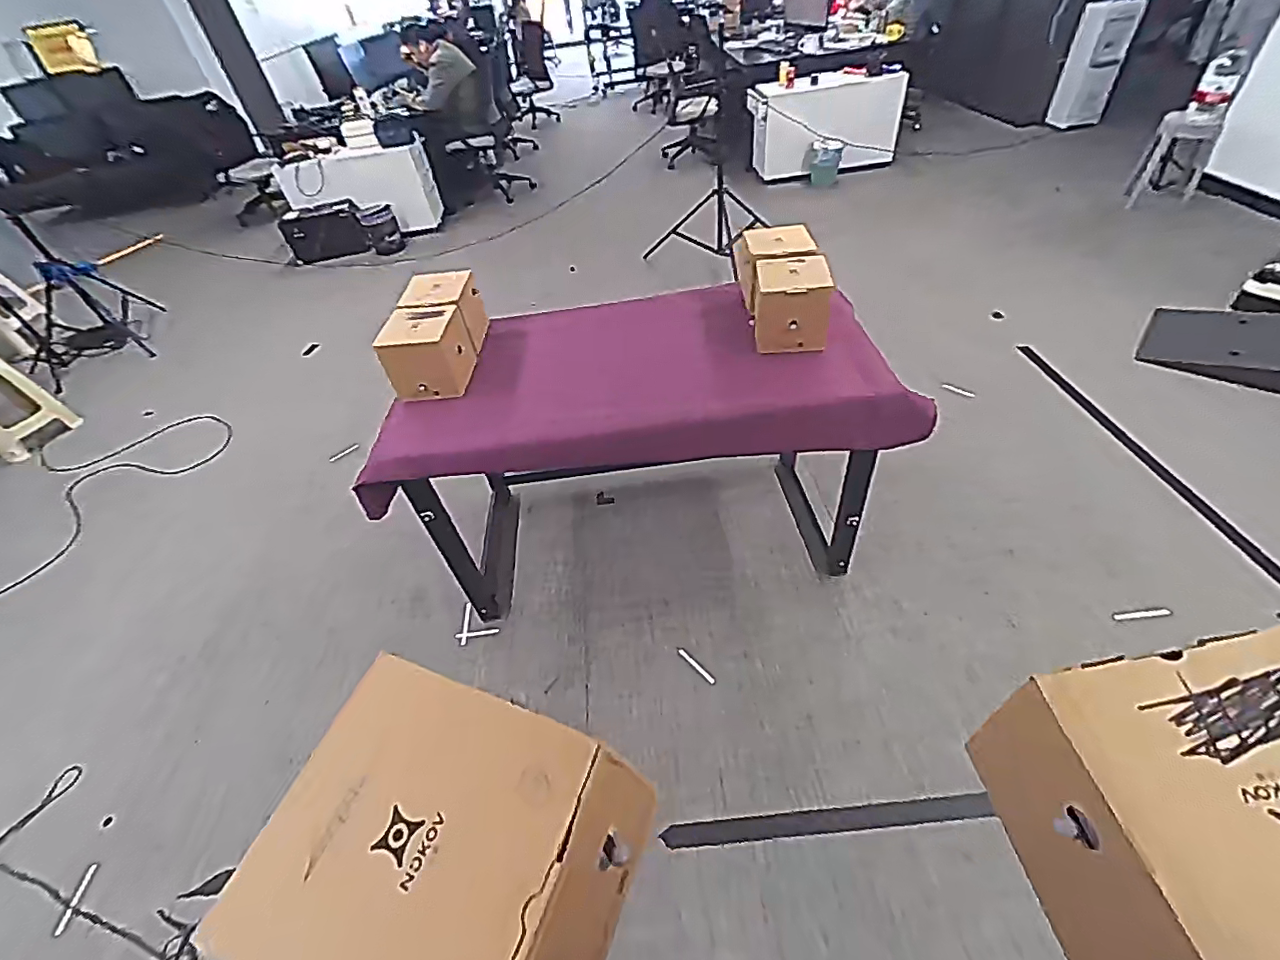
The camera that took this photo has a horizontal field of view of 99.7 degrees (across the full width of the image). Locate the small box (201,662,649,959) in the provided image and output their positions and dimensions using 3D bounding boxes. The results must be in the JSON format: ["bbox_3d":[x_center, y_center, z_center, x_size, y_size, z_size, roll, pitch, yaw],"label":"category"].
[{"bbox_3d":[-0.109,0.249,0.355,0.179,0.176,0.168,9,54,23],"label":"small box"}]

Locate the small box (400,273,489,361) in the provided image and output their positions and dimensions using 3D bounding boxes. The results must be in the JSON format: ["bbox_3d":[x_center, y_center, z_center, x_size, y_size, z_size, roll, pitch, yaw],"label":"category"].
[{"bbox_3d":[-0.535,-0.454,1.509,0.168,0.176,0.179,-4,46,4],"label":"small box"}]

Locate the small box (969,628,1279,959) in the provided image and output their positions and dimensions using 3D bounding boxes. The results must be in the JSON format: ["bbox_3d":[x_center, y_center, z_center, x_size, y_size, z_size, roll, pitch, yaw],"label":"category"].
[{"bbox_3d":[0.344,0.220,0.336,0.168,0.176,0.179,-13,50,4],"label":"small box"}]

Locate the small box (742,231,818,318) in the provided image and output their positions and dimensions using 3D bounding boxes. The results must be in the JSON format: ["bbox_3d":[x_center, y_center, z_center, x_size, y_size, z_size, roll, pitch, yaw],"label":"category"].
[{"bbox_3d":[0.376,-0.564,1.487,0.168,0.176,0.179,-4,44,4],"label":"small box"}]
